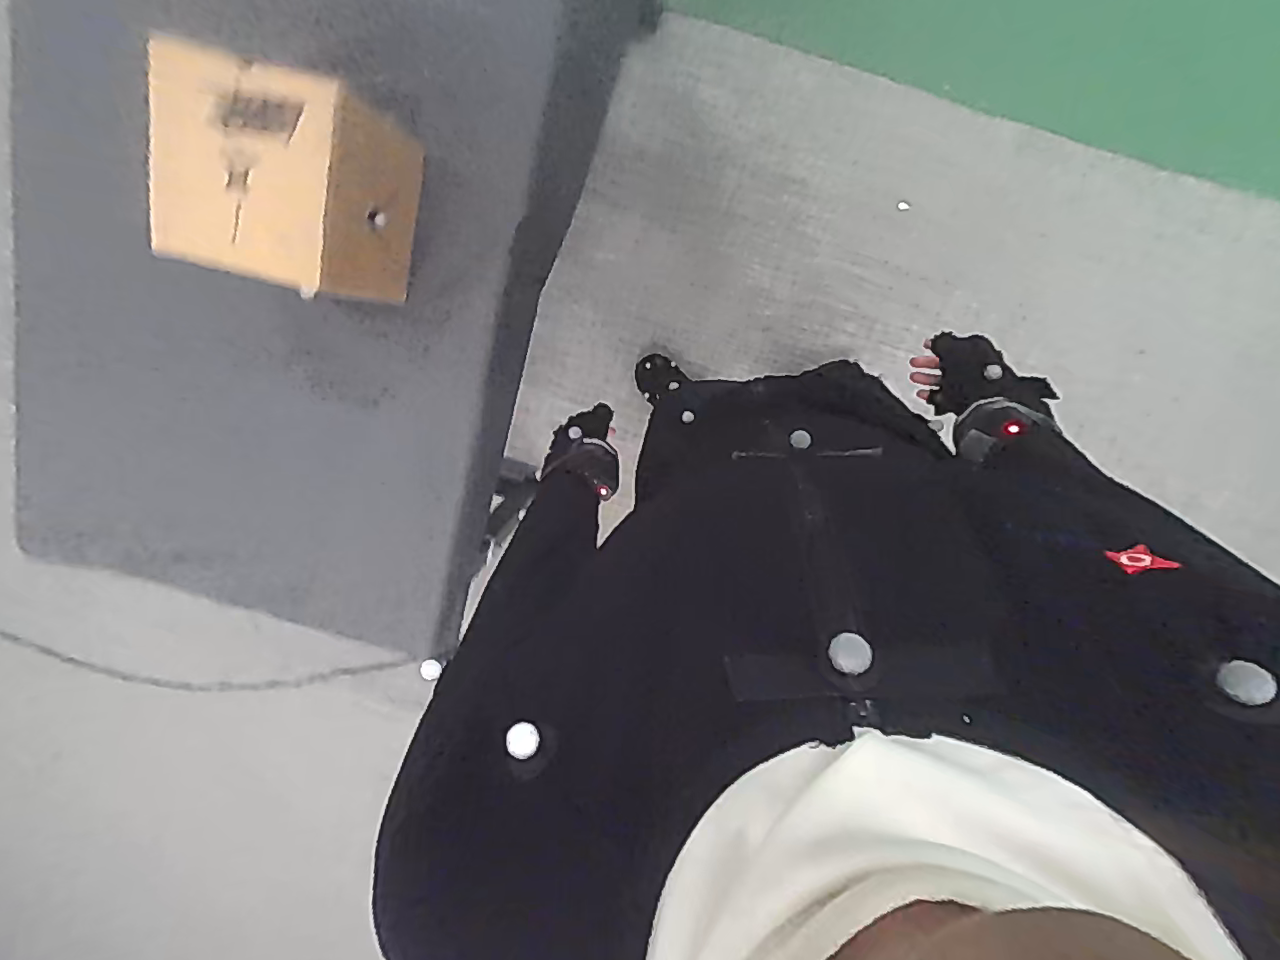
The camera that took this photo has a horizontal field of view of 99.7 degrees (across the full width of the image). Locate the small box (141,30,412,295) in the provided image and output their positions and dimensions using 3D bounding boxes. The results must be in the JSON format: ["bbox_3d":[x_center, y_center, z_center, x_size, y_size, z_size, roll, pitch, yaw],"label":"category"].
[{"bbox_3d":[-0.352,-0.300,0.552,0.168,0.176,0.179,11,104,0],"label":"small box"}]
